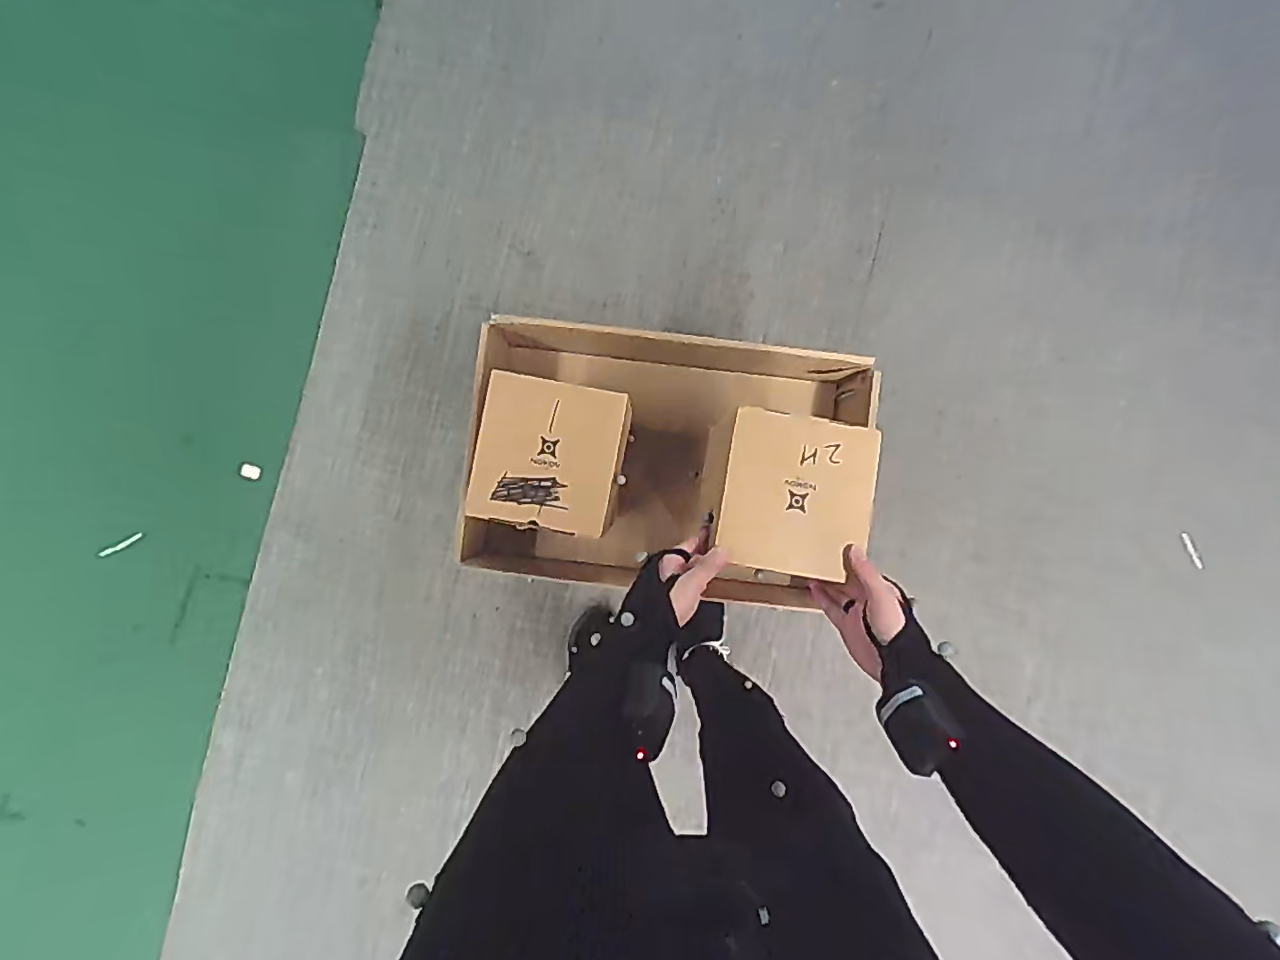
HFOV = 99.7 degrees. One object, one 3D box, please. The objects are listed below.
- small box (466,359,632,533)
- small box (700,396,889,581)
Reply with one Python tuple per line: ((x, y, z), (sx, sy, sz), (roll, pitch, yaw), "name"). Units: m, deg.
((-0.104, -0.038, 0.698), (0.168, 0.176, 0.179), (11, 89, 0), "small box")
((0.172, 0.015, 0.652), (0.168, 0.176, 0.179), (10, 83, -1), "small box")
